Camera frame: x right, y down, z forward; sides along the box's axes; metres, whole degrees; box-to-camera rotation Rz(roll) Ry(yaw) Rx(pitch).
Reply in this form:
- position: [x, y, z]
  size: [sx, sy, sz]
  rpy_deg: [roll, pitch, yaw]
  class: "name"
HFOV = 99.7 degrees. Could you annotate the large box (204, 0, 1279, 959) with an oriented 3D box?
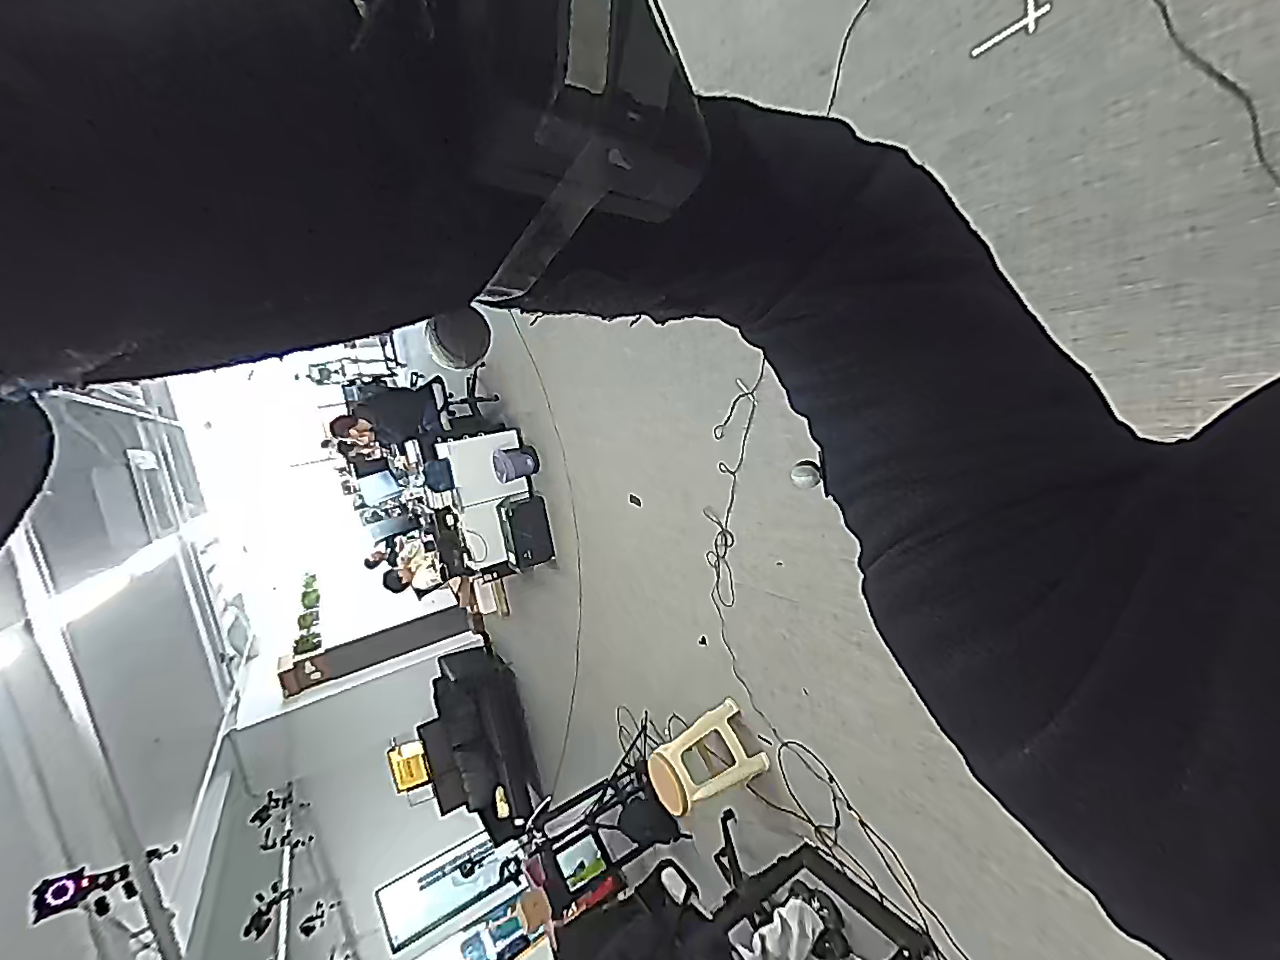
- position: [0.131, 0.052, 0.155]
  size: [0.408, 0.320, 0.320]
  rpy_deg: [16, -112, 54]
  class: "large box"
